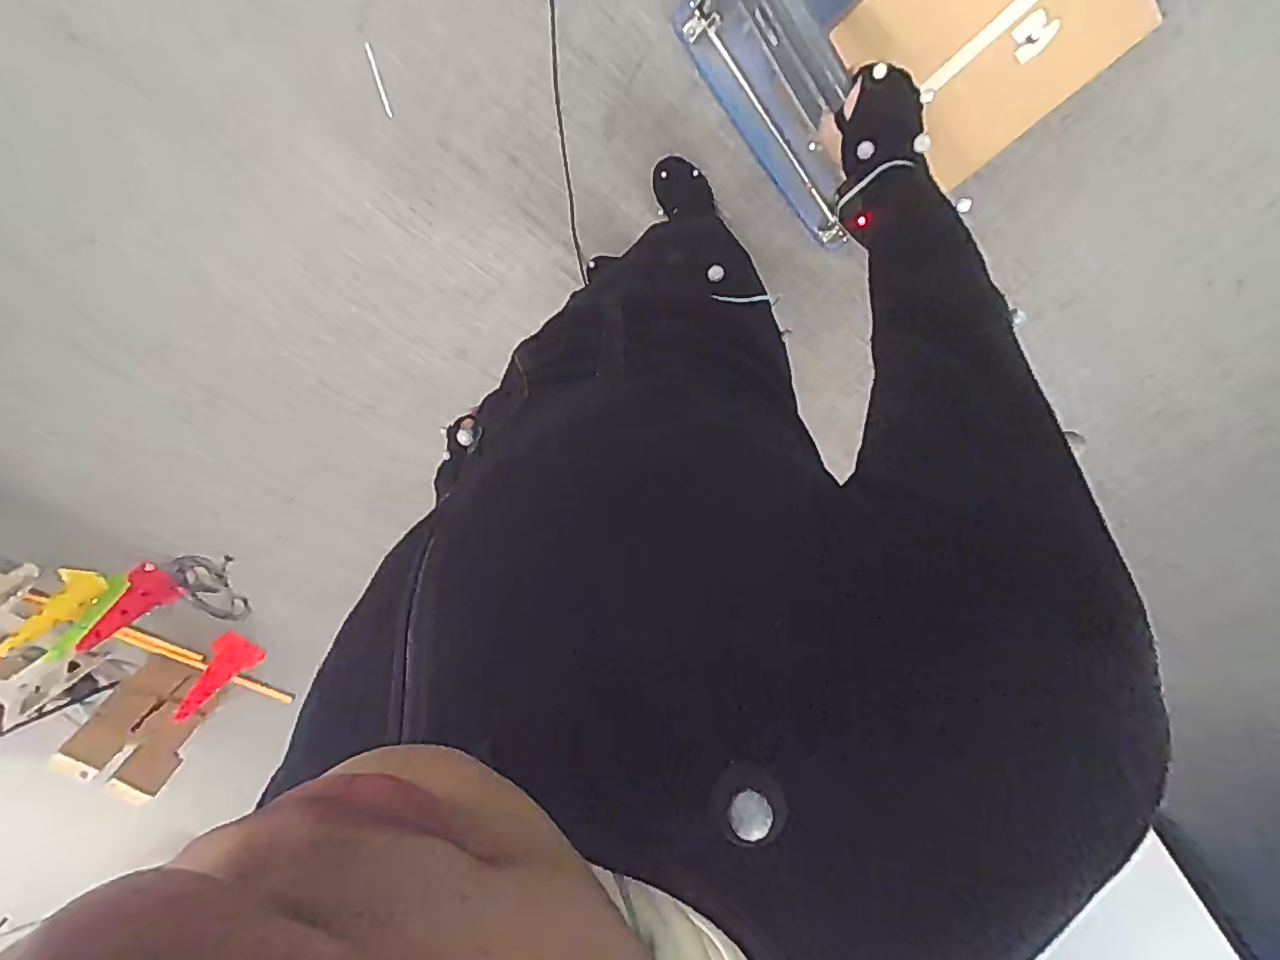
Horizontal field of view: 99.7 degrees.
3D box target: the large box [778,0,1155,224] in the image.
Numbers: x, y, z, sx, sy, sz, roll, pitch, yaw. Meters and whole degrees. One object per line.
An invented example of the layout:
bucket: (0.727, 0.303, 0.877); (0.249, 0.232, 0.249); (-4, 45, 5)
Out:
large box: (0.506, -0.726, 0.932); (0.408, 0.320, 0.320); (-37, 113, 24)
